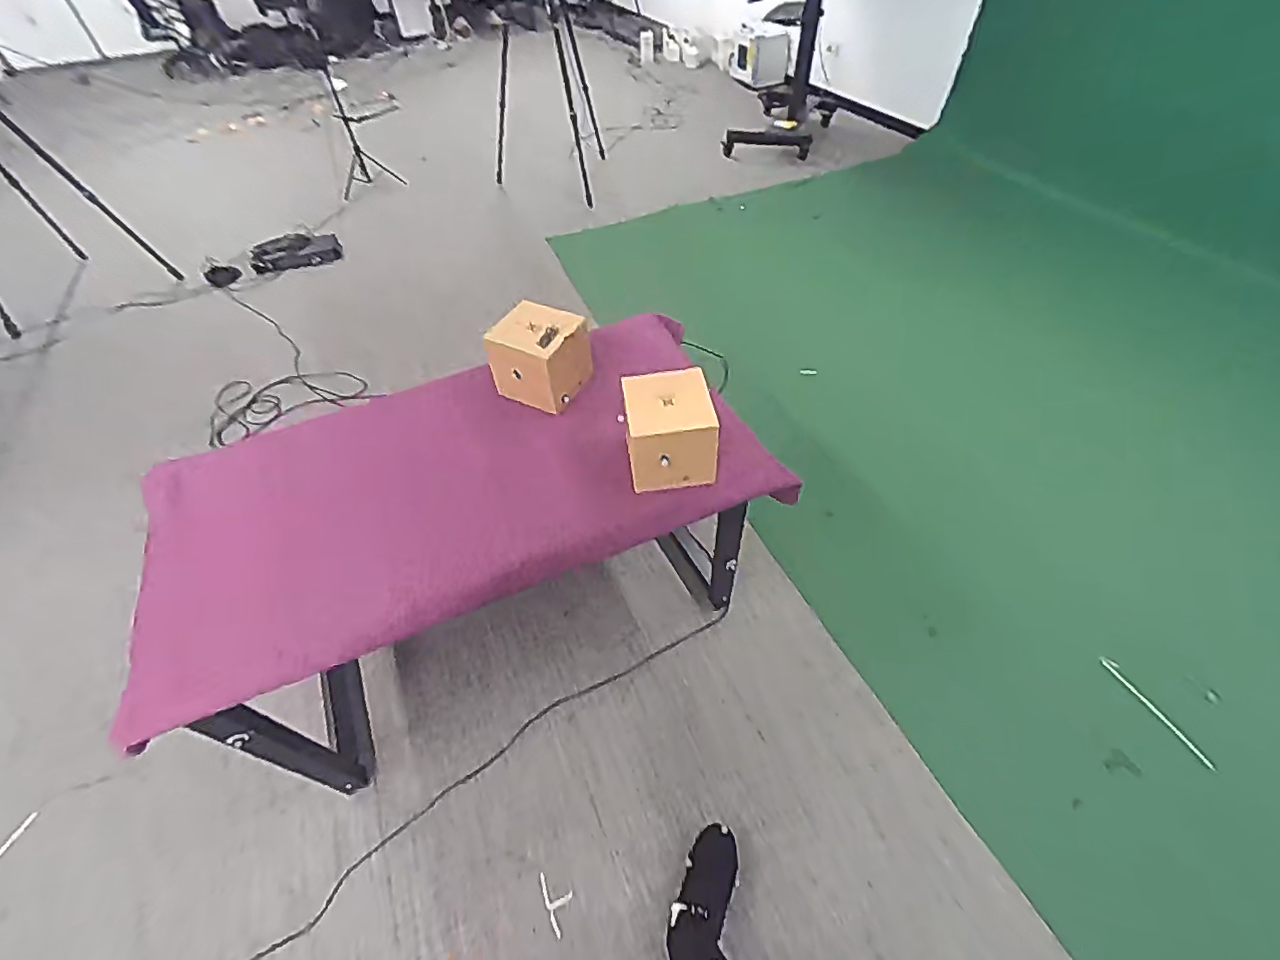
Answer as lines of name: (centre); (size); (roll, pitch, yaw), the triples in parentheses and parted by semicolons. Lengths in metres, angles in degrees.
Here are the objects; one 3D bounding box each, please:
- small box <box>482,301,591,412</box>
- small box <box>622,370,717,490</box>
small box: (-0.229, -0.283, 1.258); (0.179, 0.176, 0.168); (21, 55, 19)
small box: (0.058, -0.093, 1.089); (0.168, 0.176, 0.179); (-7, 49, -2)
